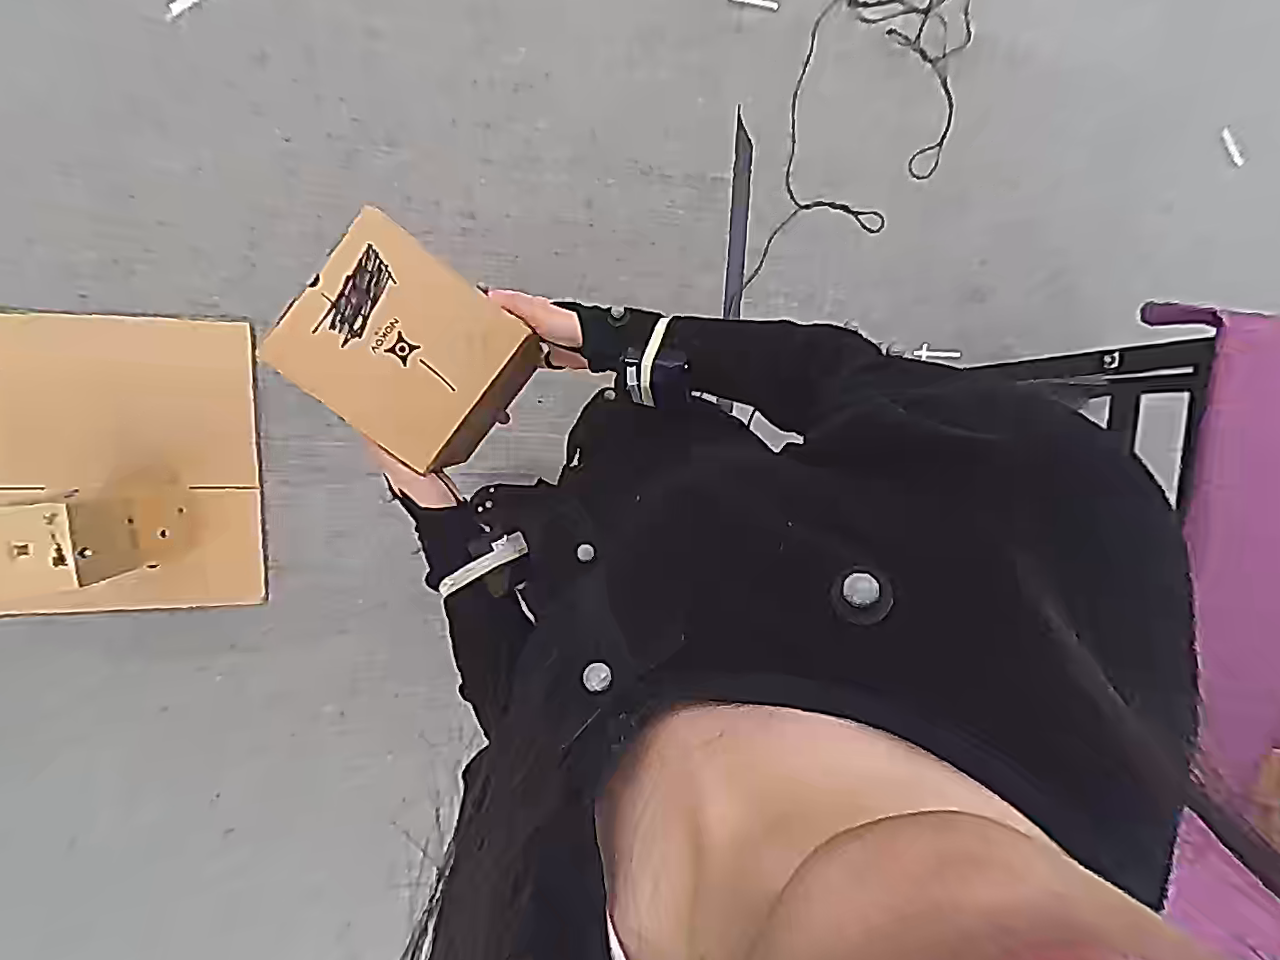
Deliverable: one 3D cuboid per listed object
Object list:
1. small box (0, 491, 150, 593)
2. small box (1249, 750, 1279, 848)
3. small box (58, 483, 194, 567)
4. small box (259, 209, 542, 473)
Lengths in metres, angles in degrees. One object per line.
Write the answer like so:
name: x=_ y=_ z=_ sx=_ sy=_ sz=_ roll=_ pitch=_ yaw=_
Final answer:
small box: x=-1.130 y=0.116 z=1.063 sx=0.179 sy=0.176 sz=0.168 roll=-3 pitch=97 yaw=-9
small box: x=1.242 y=0.593 z=0.939 sx=0.179 sy=0.176 sz=0.168 roll=7 pitch=94 yaw=-10
small box: x=-1.155 y=0.100 z=1.225 sx=0.179 sy=0.176 sz=0.168 roll=-2 pitch=96 yaw=-9
small box: x=-0.221 y=-0.126 z=0.553 sx=0.179 sy=0.176 sz=0.168 roll=38 pitch=92 yaw=-7
